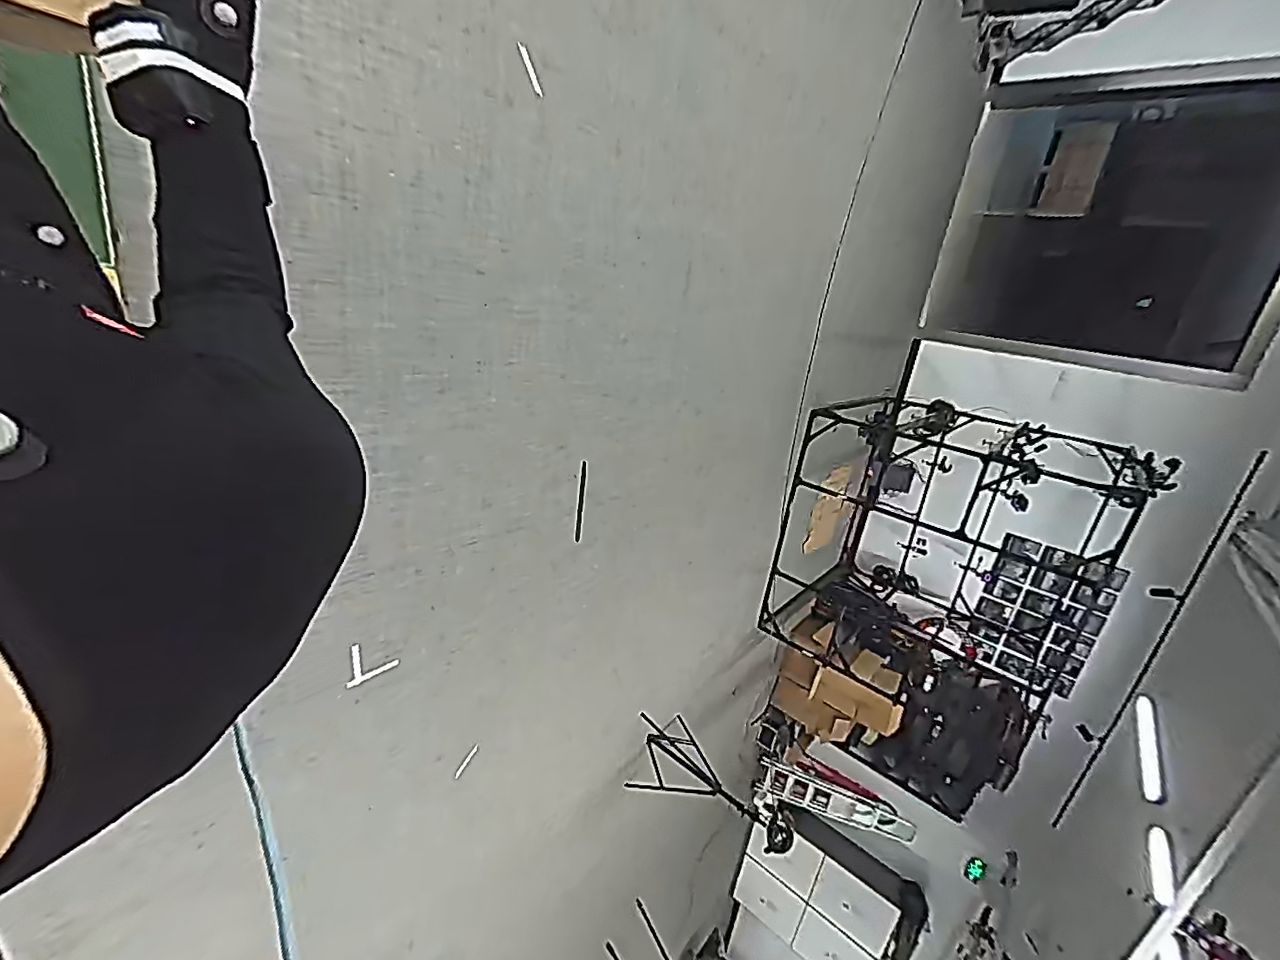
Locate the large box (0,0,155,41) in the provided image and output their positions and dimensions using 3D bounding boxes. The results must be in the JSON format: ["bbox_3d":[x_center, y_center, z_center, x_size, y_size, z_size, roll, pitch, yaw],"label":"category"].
[{"bbox_3d":[-0.573,-0.493,0.273,0.408,0.320,0.320,-18,127,-52],"label":"large box"}]
